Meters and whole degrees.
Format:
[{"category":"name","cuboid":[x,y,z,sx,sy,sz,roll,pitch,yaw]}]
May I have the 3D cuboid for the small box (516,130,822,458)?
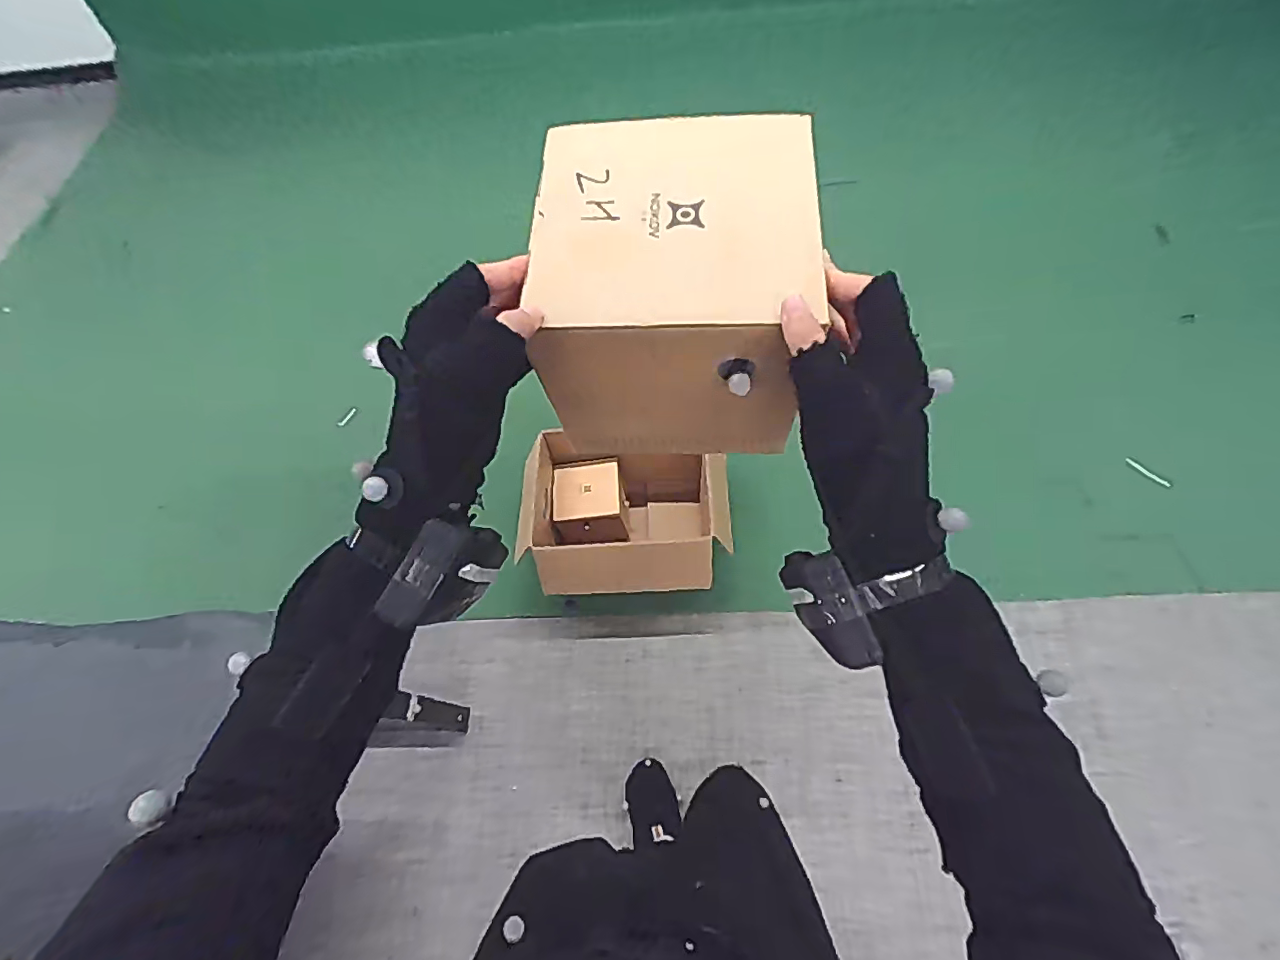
[{"category":"small box","cuboid":[0.026,-0.124,0.407,0.179,0.176,0.168,0,67,7]}]
